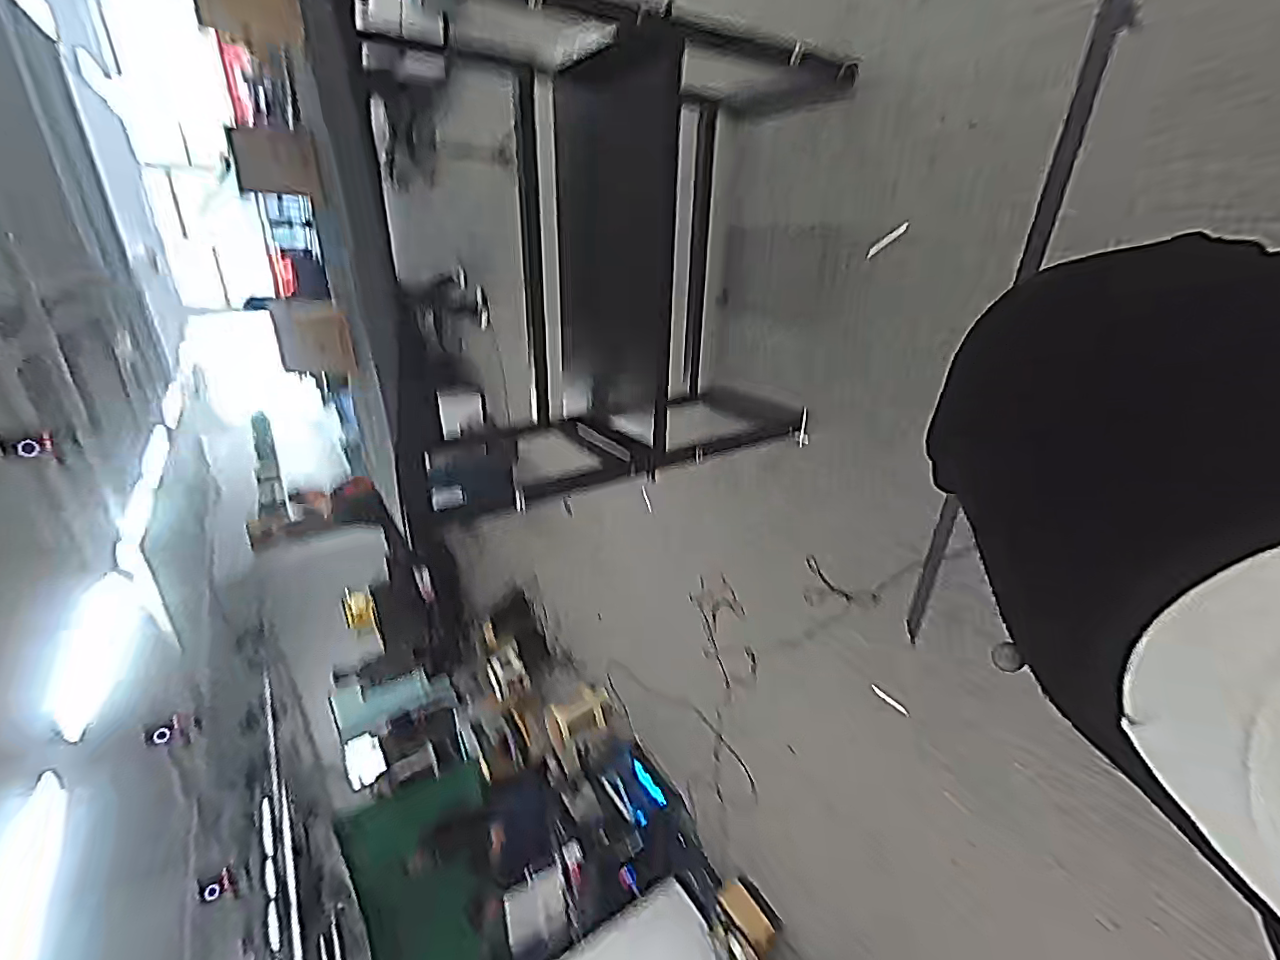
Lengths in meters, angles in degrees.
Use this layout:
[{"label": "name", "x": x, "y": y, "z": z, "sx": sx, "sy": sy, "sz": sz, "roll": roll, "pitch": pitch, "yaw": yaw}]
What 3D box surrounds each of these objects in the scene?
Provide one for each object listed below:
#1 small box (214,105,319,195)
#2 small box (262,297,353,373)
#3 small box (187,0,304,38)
[{"label": "small box", "x": -0.866, "y": -0.768, "z": 1.263, "sx": 0.179, "sy": 0.176, "sz": 0.168, "roll": 39, "pitch": 133, "yaw": 44}, {"label": "small box", "x": -0.874, "y": -0.390, "z": 1.431, "sx": 0.179, "sy": 0.176, "sz": 0.168, "roll": 32, "pitch": 128, "yaw": 48}, {"label": "small box", "x": -0.695, "y": -0.893, "z": 0.932, "sx": 0.179, "sy": 0.176, "sz": 0.168, "roll": 34, "pitch": 131, "yaw": 48}]
